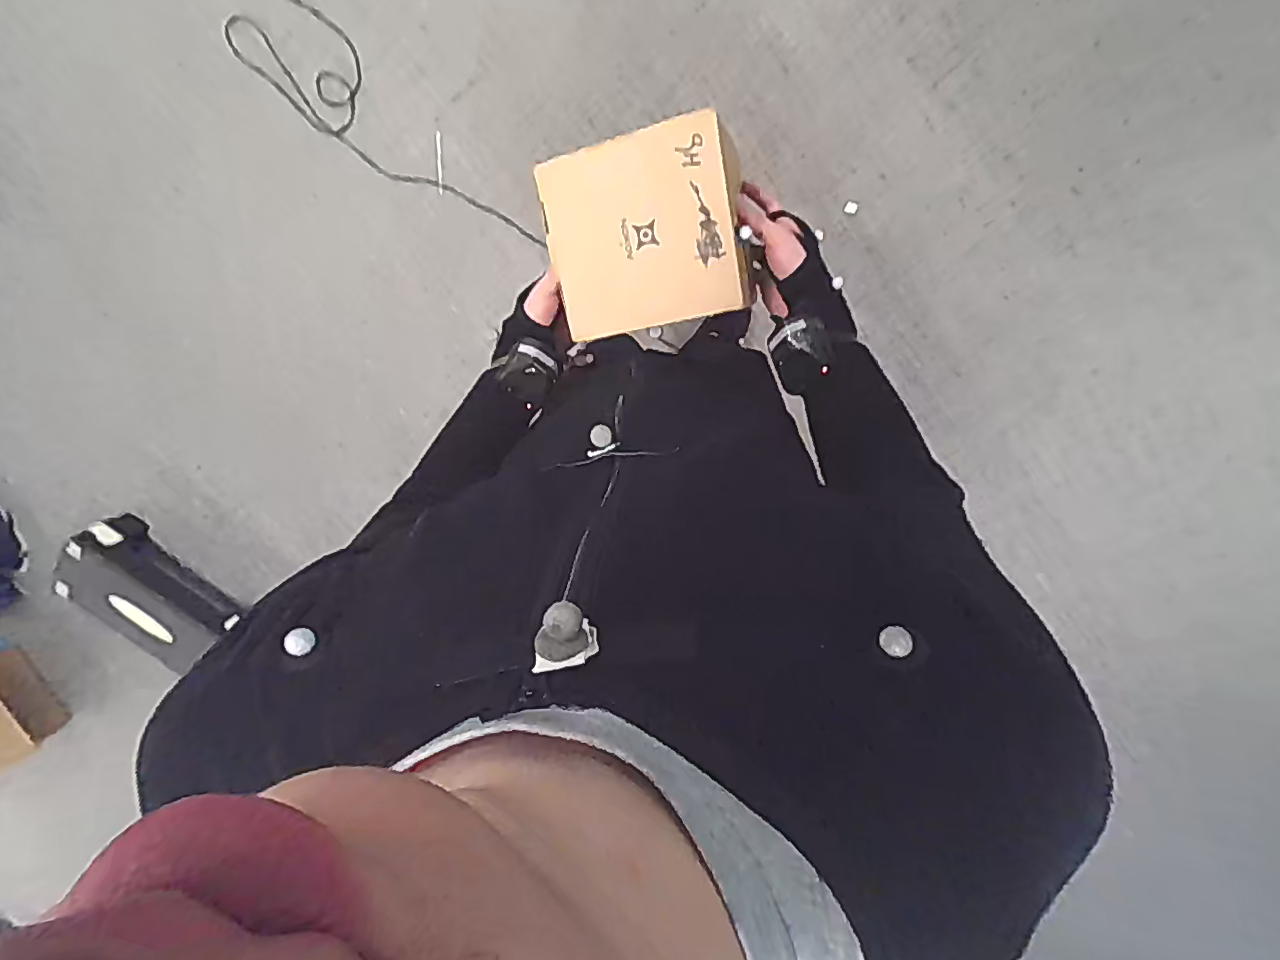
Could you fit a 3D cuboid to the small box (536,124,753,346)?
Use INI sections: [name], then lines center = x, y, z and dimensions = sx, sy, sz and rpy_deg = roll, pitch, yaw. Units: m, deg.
[small box]
center = 0.018, -0.243, 0.578
dimensions = 0.179, 0.176, 0.168
rpy_deg = -5, 107, 18
